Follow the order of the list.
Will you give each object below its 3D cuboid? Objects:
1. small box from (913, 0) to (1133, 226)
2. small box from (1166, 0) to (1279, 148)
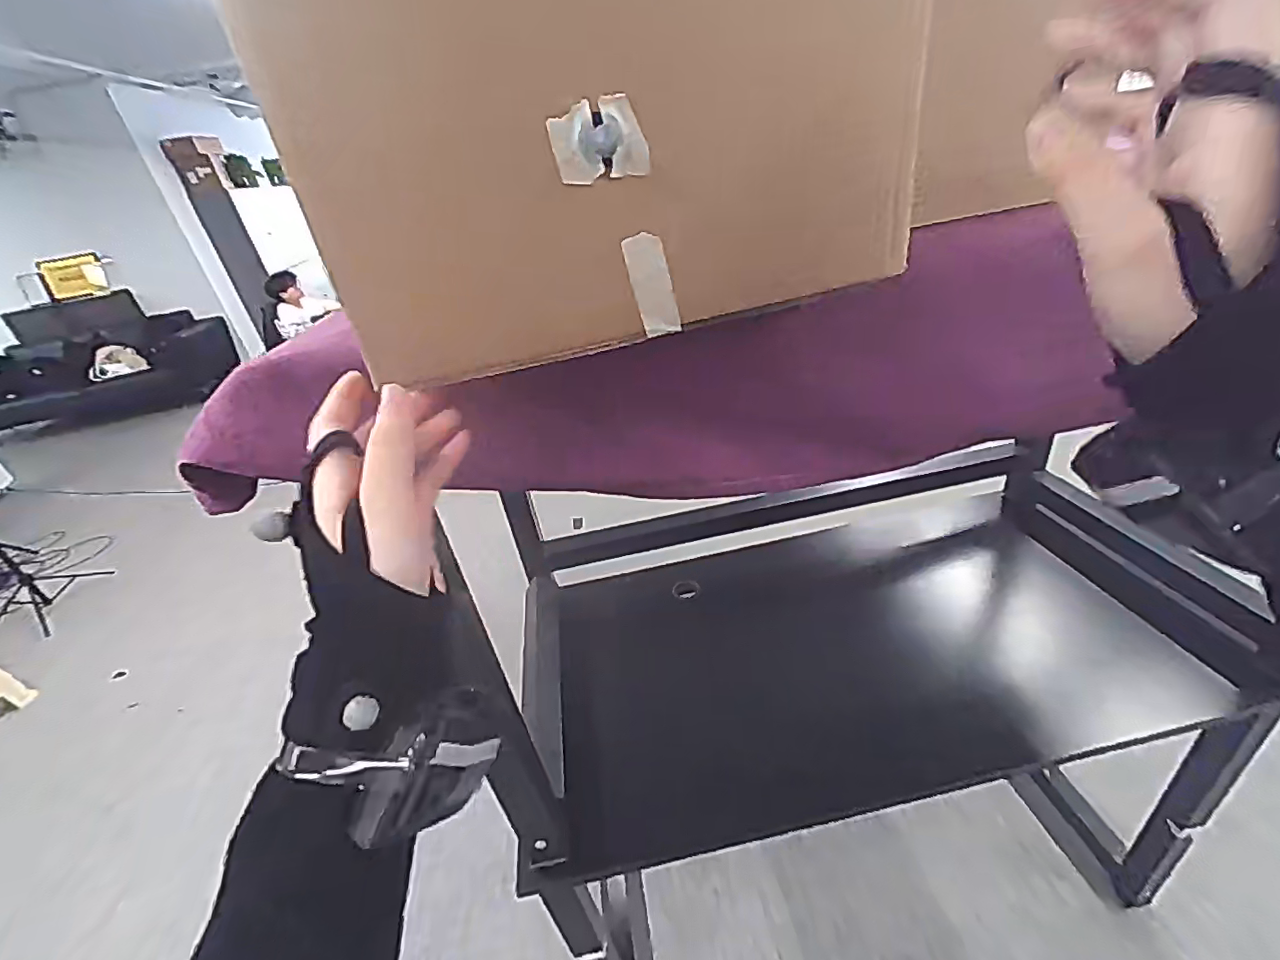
[{"bbox_3d":[0.275,-0.335,0.482,0.179,0.176,0.168,-12,29,-2],"label":"small box"},{"bbox_3d":[0.634,-0.401,0.475,0.179,0.176,0.168,-13,29,-5],"label":"small box"}]
